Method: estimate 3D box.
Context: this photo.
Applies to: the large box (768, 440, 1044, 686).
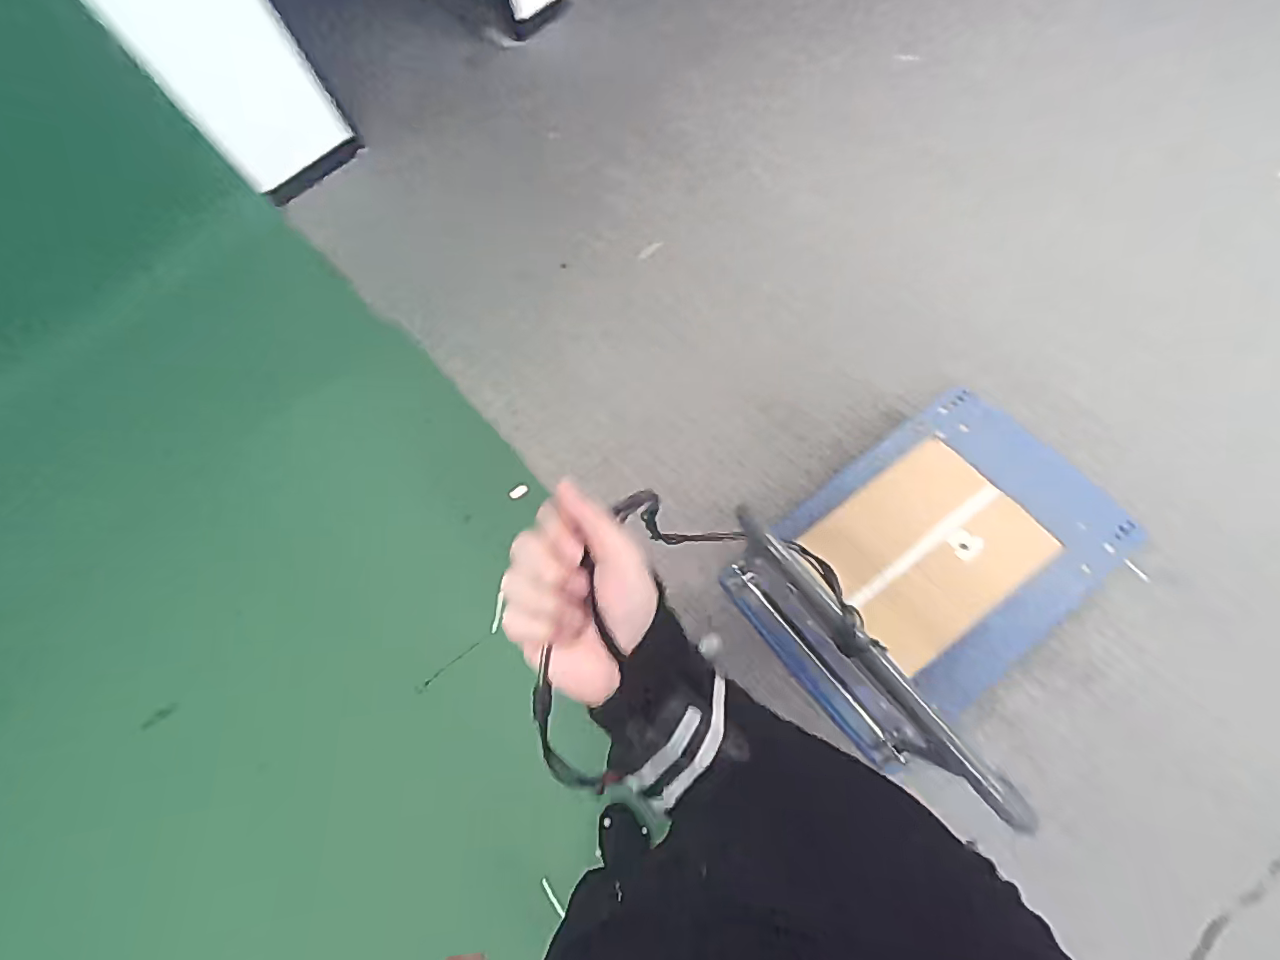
[{"bbox_3d":[0.543,0.196,1.190,0.408,0.320,0.320,-36,69,-9],"label":"large box"}]
